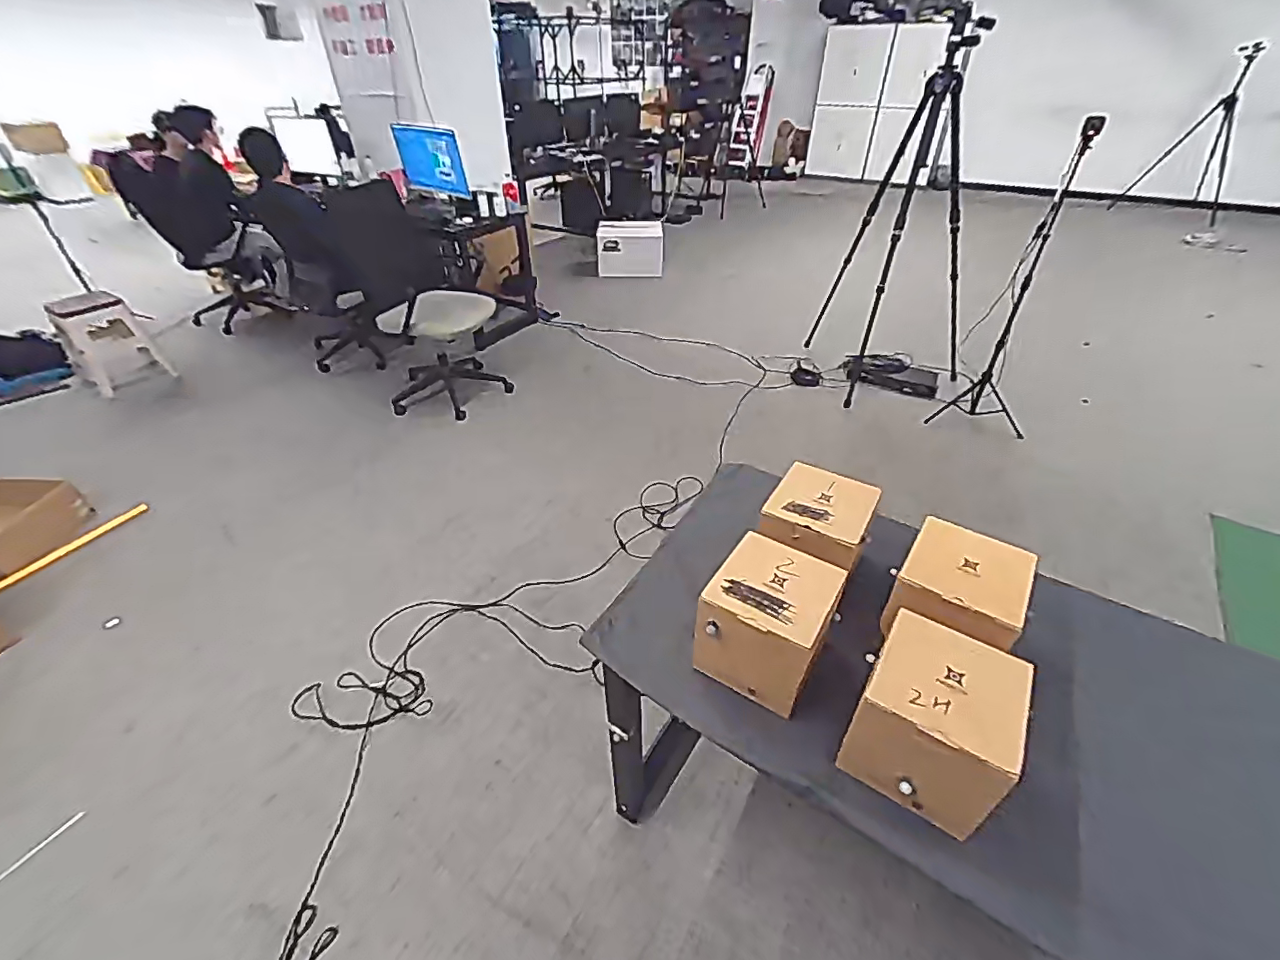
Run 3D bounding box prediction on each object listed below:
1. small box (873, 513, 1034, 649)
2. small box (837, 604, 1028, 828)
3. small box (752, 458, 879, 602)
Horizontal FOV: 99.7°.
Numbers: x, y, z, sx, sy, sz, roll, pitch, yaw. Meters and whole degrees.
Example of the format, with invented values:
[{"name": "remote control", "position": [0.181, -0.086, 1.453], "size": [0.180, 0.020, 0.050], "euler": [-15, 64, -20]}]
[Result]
[{"name": "small box", "position": [0.501, 0.191, 0.879], "size": [0.168, 0.176, 0.179], "euler": [24, 45, 27]}, {"name": "small box", "position": [0.382, 0.309, 0.722], "size": [0.168, 0.176, 0.179], "euler": [23, 42, 27]}, {"name": "small box", "position": [0.318, 0.093, 1.000], "size": [0.168, 0.176, 0.179], "euler": [22, 43, 25]}]
